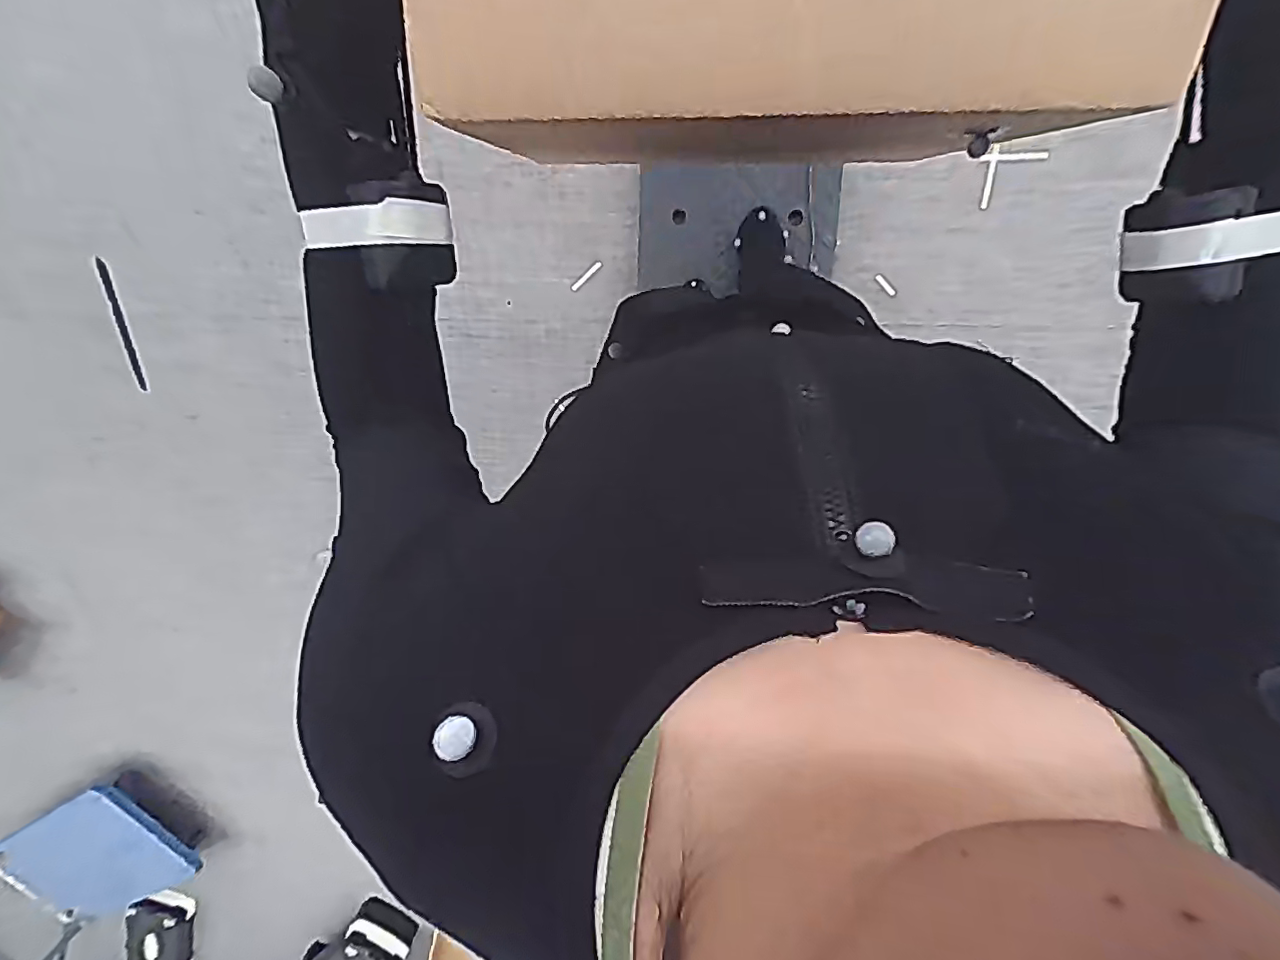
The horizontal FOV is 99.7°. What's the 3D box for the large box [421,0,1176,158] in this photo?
[{"bbox_3d":[0.084,-0.412,0.370,0.408,0.320,0.320,0,116,2],"label":"large box"}]
